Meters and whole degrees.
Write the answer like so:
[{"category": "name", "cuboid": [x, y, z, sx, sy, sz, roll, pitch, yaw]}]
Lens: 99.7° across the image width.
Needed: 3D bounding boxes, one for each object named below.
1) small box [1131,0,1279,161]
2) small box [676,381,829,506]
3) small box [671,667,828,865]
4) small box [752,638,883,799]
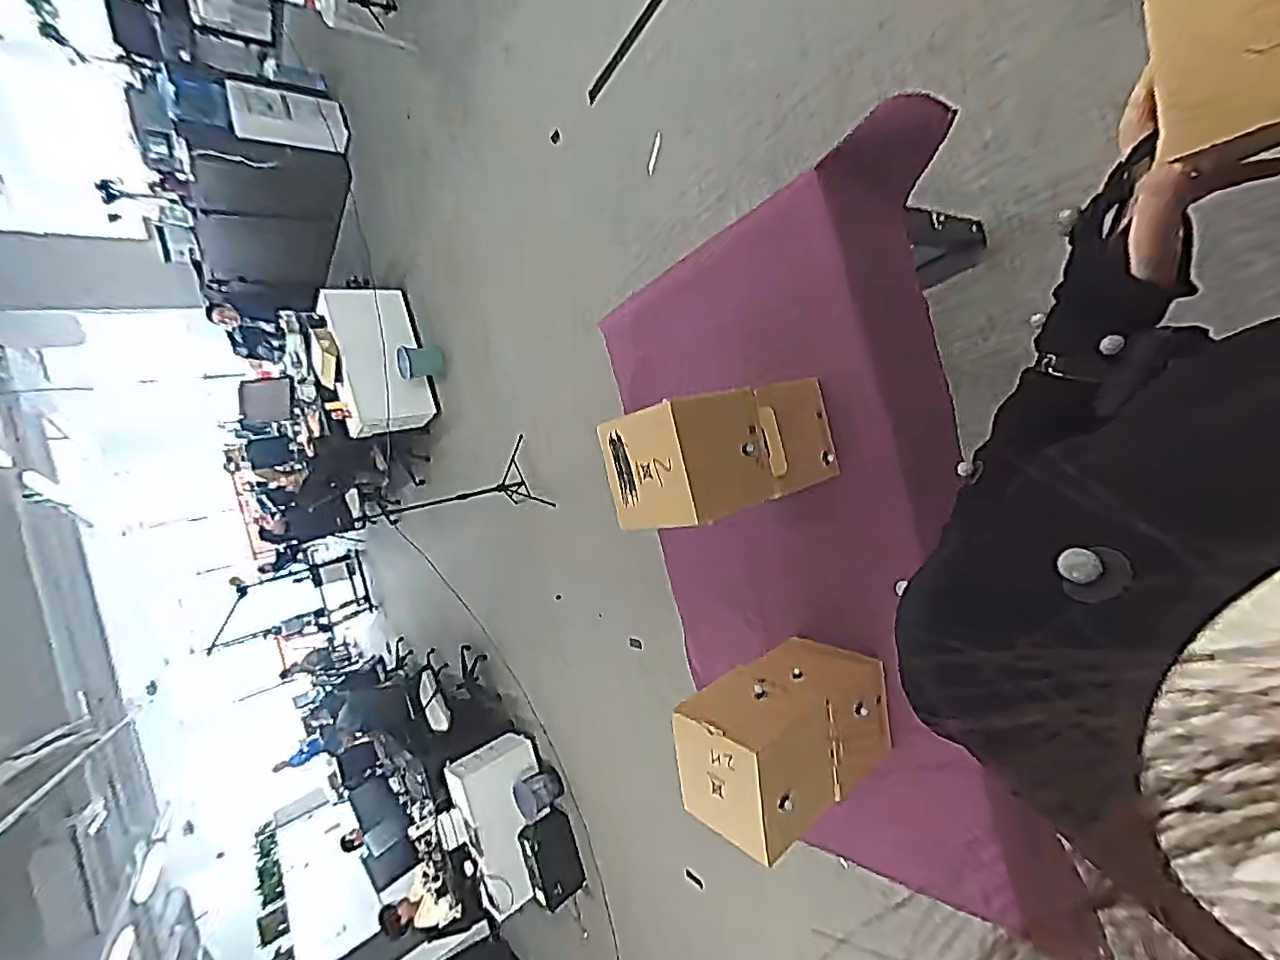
[{"category": "small box", "cuboid": [0.314, -0.250, 0.209, 0.179, 0.176, 0.168, -7, 103, 49]}, {"category": "small box", "cuboid": [0.192, -0.060, 0.902, 0.179, 0.176, 0.168, -12, 93, 53]}, {"category": "small box", "cuboid": [0.171, 0.420, 0.827, 0.168, 0.176, 0.179, 3, 103, 50]}, {"category": "small box", "cuboid": [0.298, 0.392, 0.927, 0.179, 0.176, 0.168, 1, 102, 51]}]
